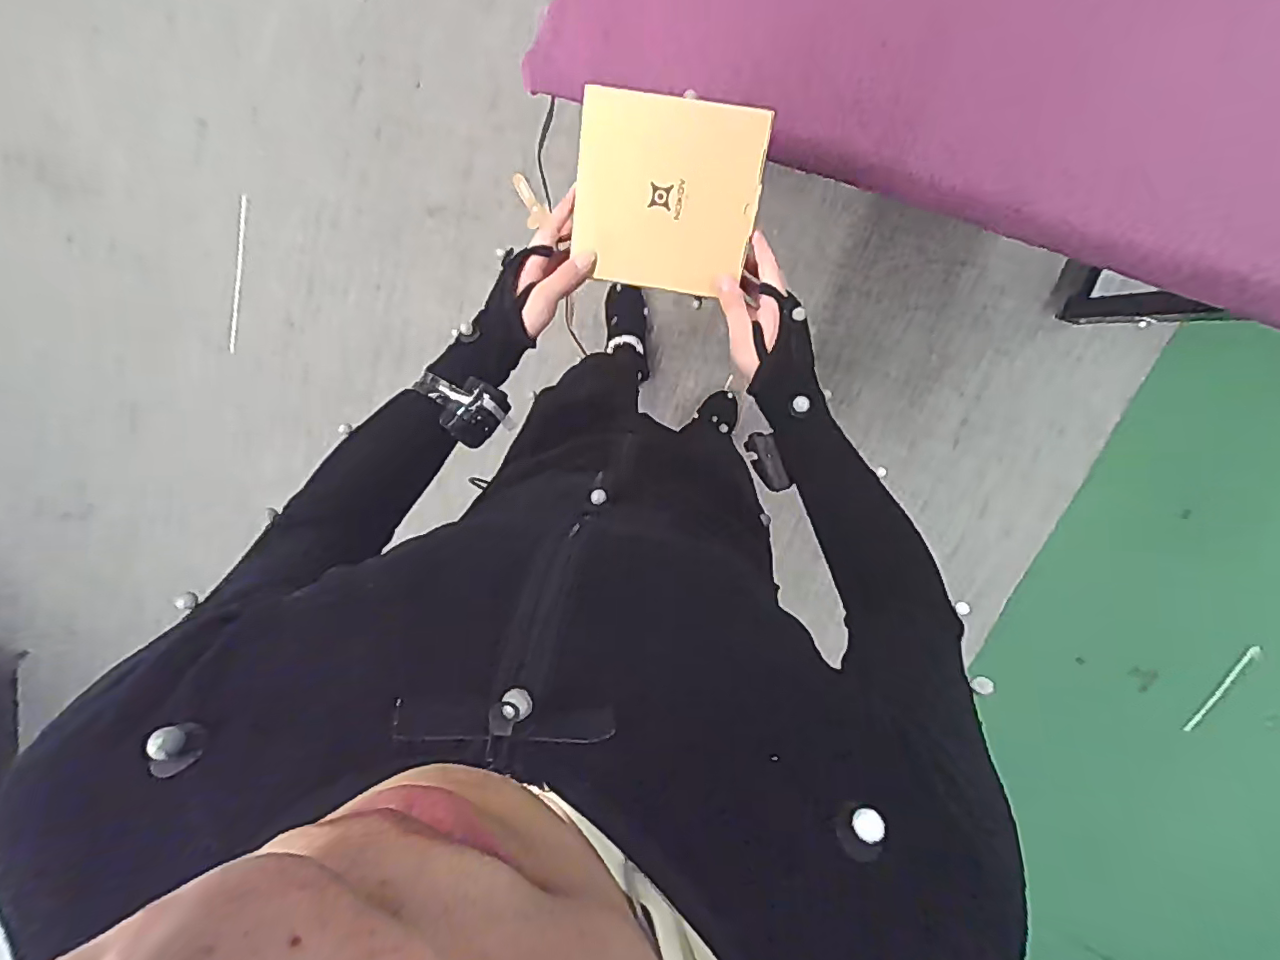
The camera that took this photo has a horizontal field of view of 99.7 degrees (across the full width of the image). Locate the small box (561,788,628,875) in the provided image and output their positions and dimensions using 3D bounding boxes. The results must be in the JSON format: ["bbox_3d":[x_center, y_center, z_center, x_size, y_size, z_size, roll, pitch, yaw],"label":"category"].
[{"bbox_3d":[-0.156,1.231,1.906,0.179,0.176,0.168,20,108,2],"label":"small box"}]

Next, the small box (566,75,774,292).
[{"bbox_3d":[0.029,-0.300,0.584,0.179,0.176,0.168,9,110,1],"label":"small box"}]
